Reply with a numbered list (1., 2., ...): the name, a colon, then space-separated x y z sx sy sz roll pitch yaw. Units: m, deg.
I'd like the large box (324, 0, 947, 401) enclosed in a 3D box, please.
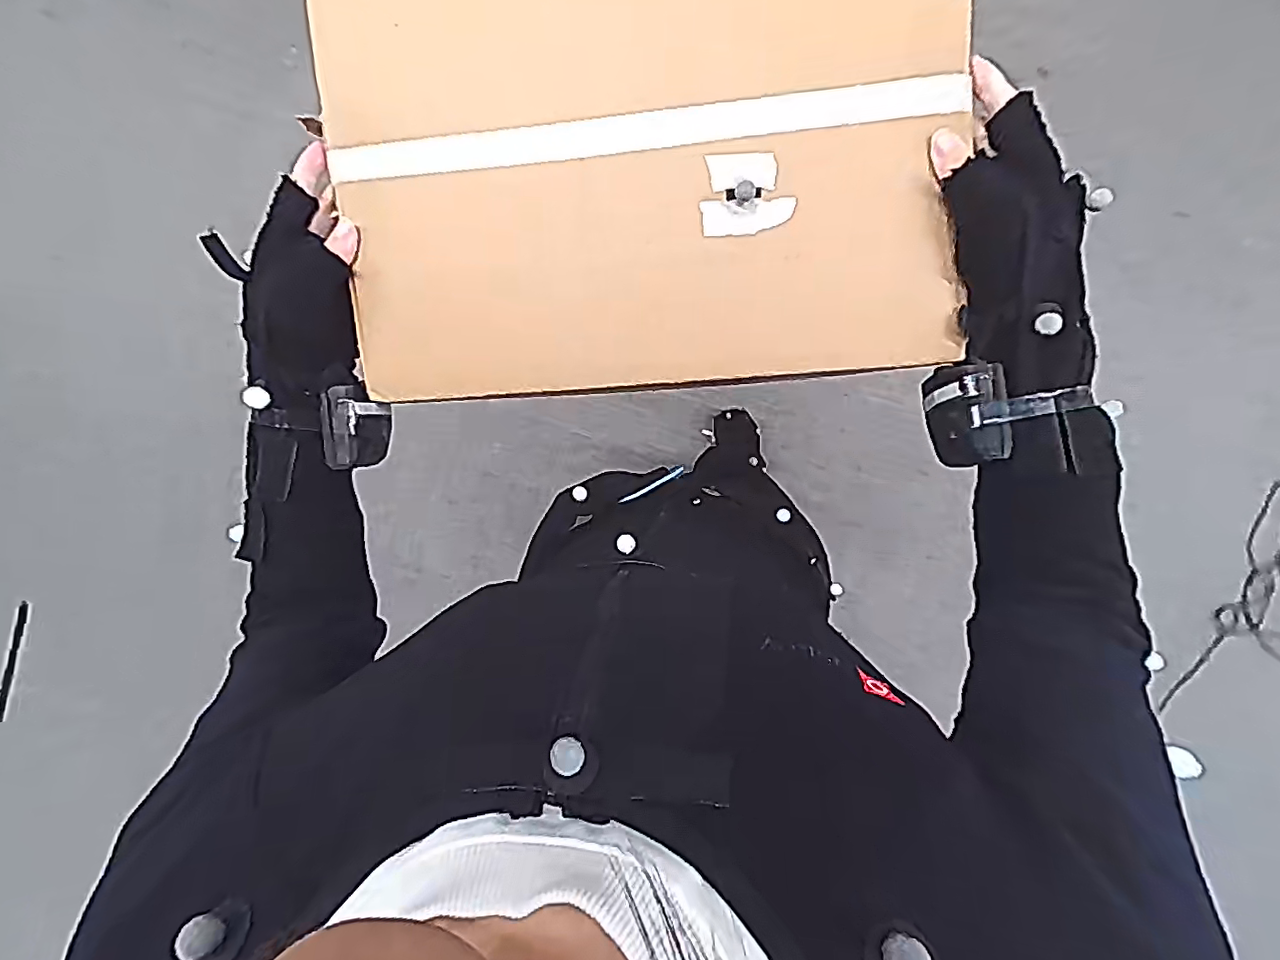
1. large box: 0.005 -0.249 0.506 0.408 0.320 0.320 -4 99 4
